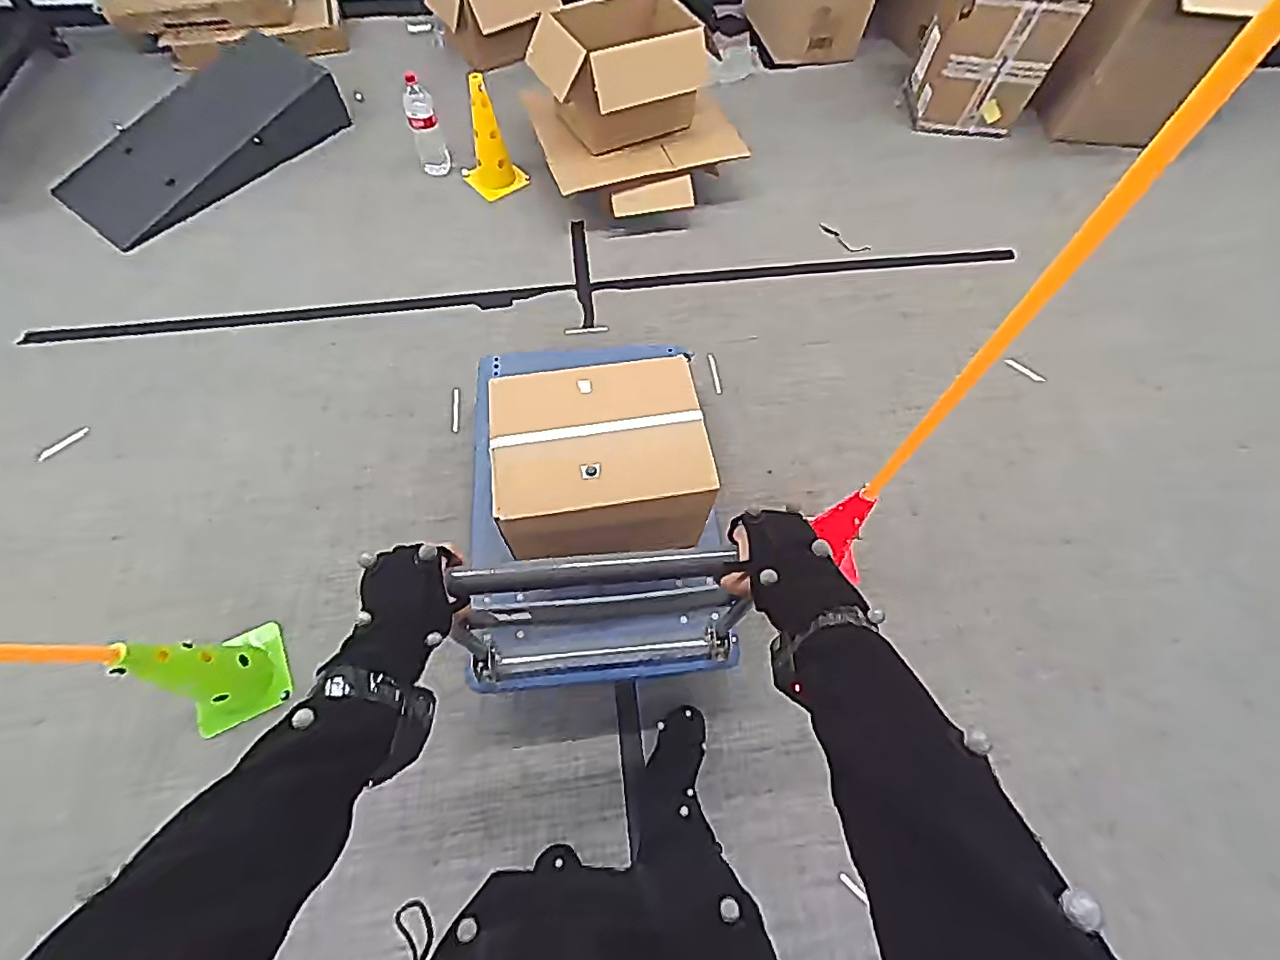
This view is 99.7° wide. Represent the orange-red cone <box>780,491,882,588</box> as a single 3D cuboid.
[{"bbox_3d":[0.482,0.114,1.281,0.199,0.360,0.198,0,64,-3],"label":"orange-red cone"}]
